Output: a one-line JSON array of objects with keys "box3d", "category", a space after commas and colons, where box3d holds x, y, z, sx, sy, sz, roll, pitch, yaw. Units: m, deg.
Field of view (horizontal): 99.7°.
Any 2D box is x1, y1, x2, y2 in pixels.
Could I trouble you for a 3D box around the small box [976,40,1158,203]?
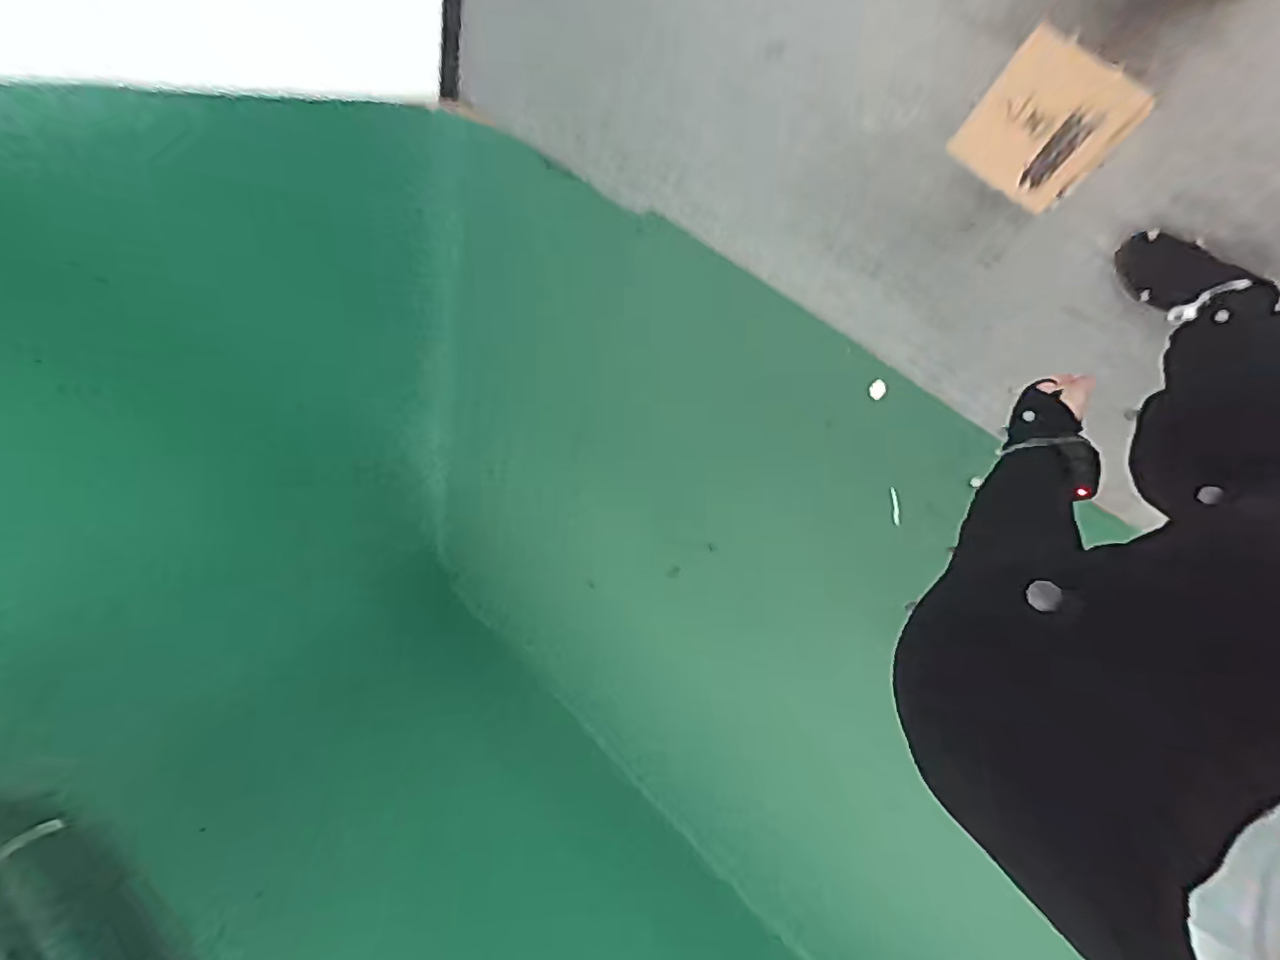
[{"box3d": [0.723, -0.606, 0.922, 0.179, 0.176, 0.168, 44, 136, 12], "category": "small box"}]
